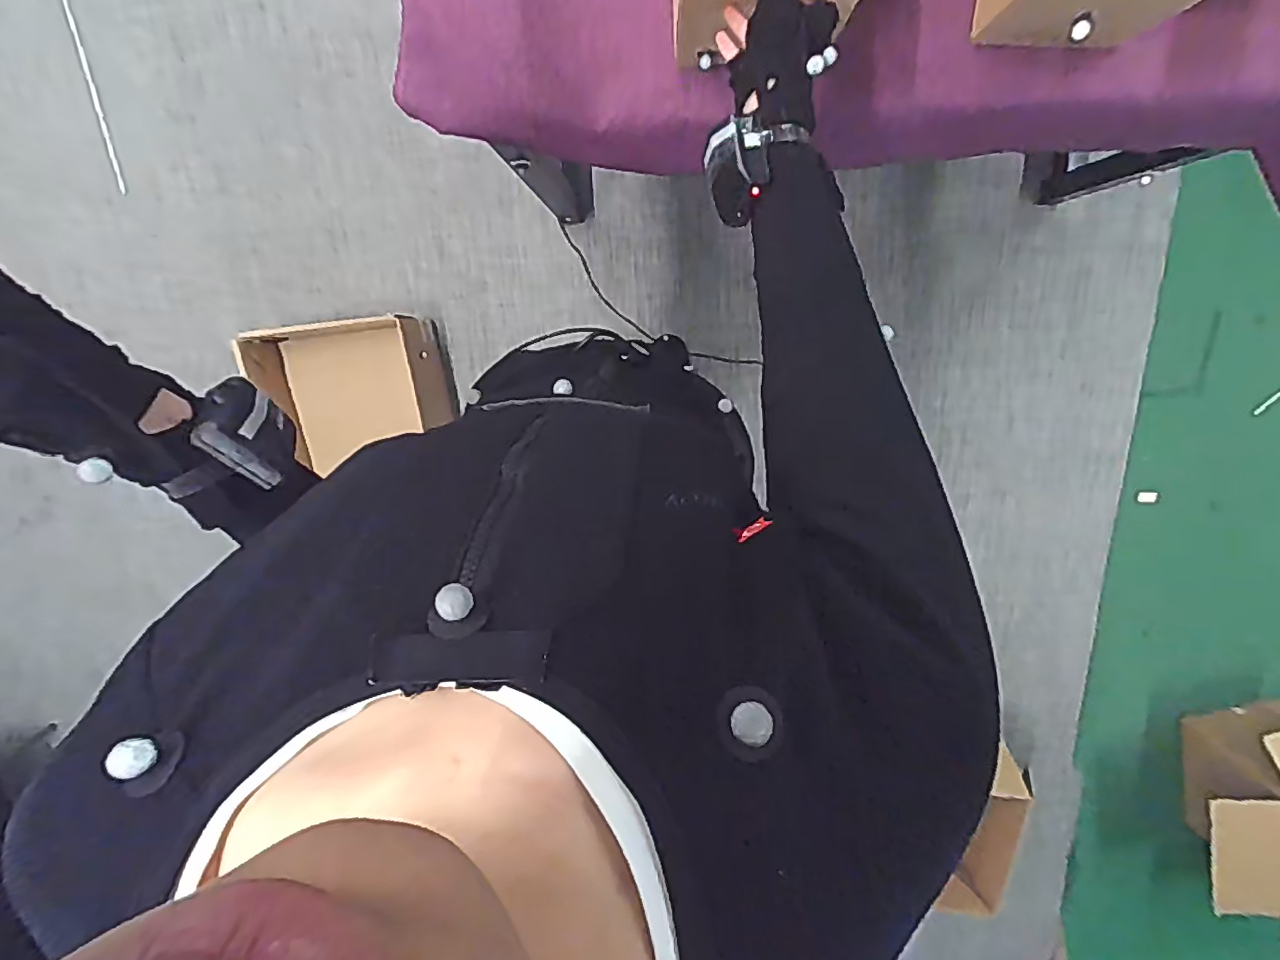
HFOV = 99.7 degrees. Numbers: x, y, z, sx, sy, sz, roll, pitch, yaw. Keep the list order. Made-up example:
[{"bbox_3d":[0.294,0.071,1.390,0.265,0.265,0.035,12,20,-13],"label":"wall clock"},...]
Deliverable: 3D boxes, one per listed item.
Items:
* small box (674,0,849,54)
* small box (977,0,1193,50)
[{"bbox_3d":[0.117,-0.523,0.494,0.168,0.176,0.179,0,106,2],"label":"small box"},{"bbox_3d":[0.440,-0.532,0.483,0.168,0.176,0.179,3,106,1],"label":"small box"}]
